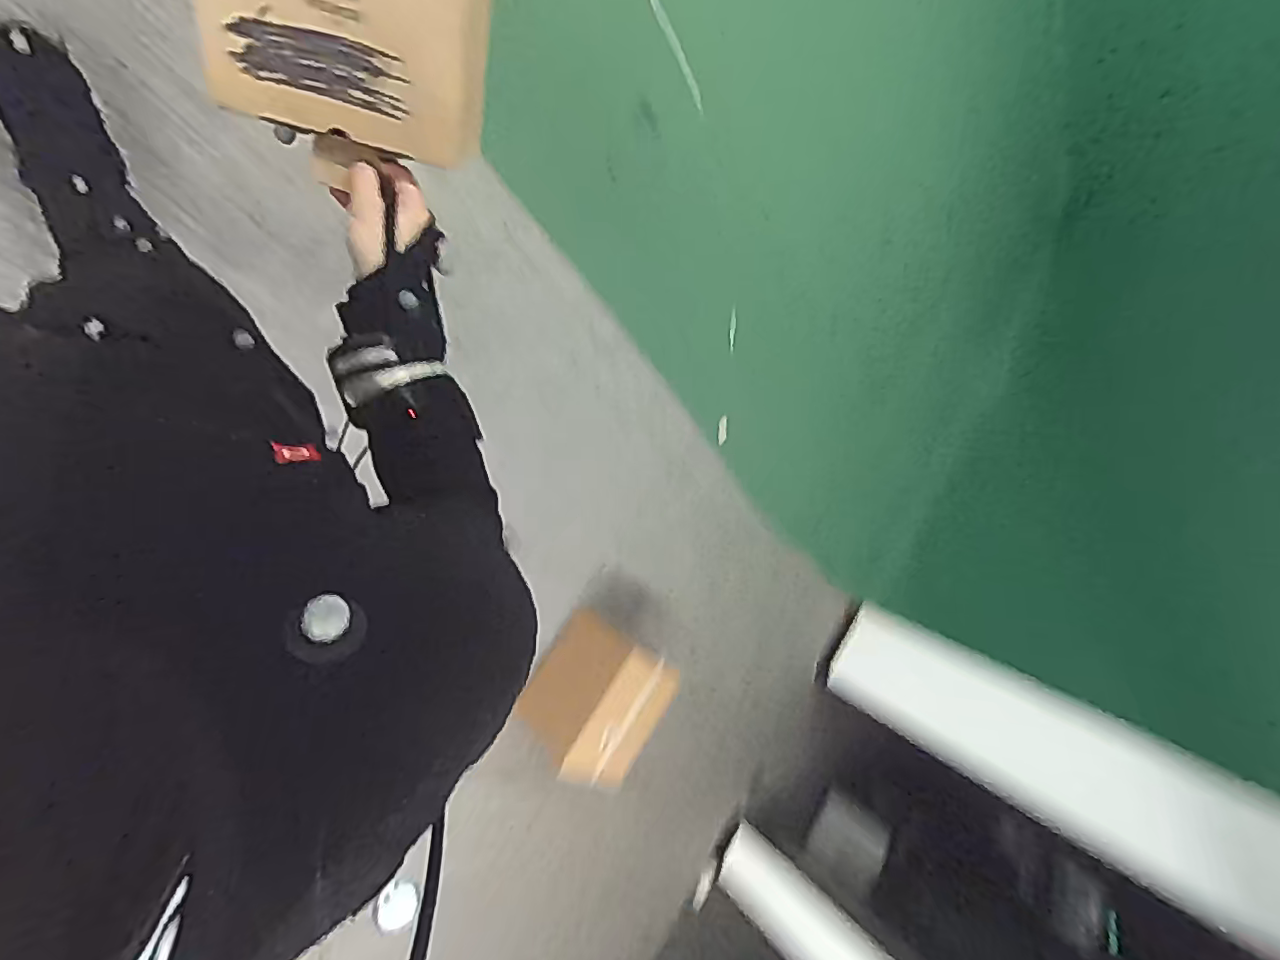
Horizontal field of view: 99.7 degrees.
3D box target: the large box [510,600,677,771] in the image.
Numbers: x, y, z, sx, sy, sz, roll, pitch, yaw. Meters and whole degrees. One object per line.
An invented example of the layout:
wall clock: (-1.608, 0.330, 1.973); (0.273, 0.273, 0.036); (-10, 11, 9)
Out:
large box: (-0.155, 0.681, 1.815); (0.408, 0.320, 0.320); (-55, 133, -8)
